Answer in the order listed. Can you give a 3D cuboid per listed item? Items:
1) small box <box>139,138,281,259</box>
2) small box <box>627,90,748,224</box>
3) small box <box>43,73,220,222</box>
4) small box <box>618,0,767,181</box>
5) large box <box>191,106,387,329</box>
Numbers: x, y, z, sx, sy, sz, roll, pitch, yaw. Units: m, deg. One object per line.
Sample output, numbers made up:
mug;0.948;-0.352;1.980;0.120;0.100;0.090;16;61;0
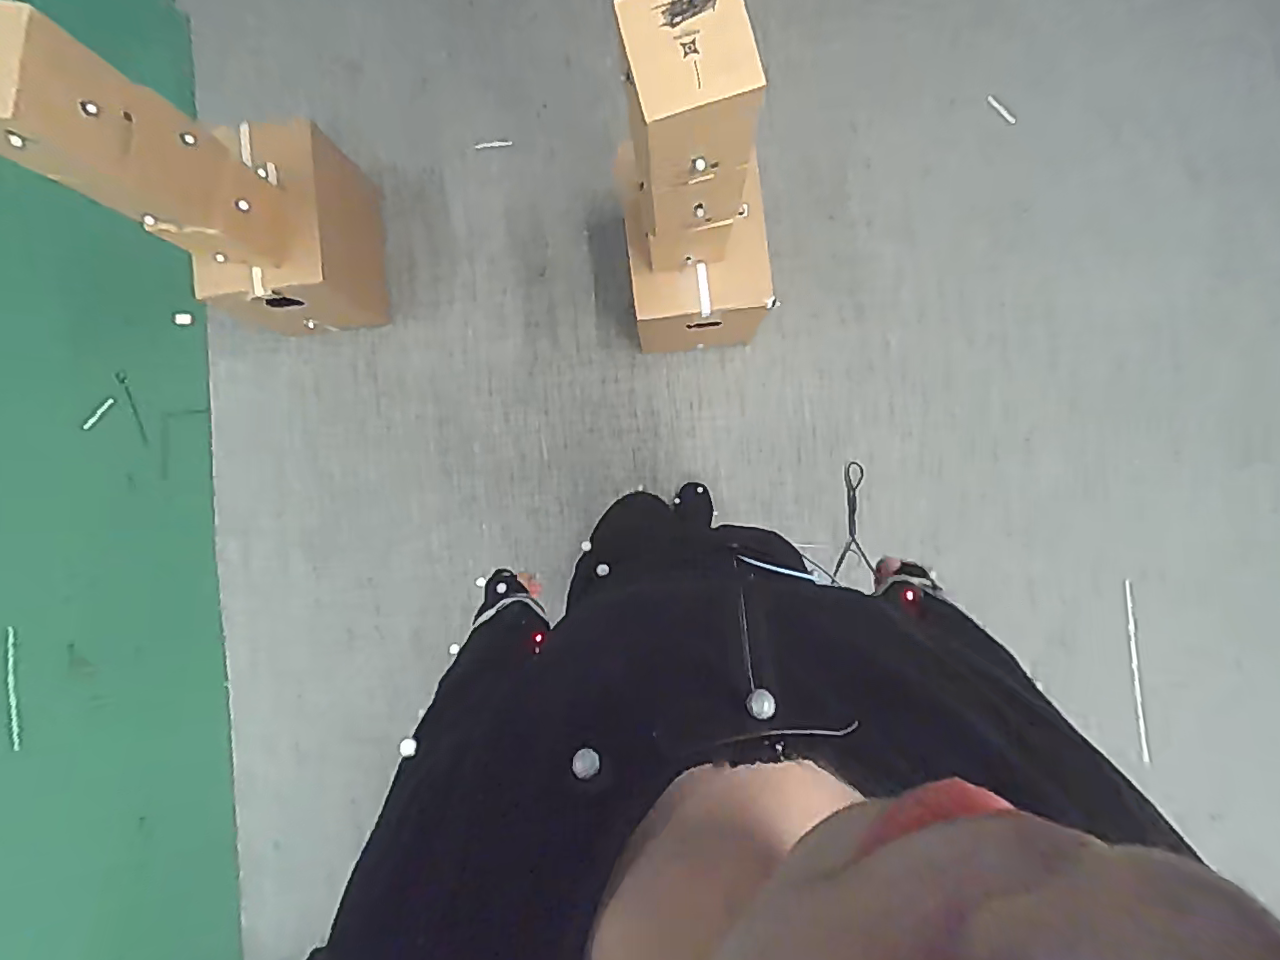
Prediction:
small box;-0.907;-0.599;1.156;0.168;0.176;0.179;5;90;3
small box;0.082;-0.576;0.948;0.168;0.176;0.179;-14;90;3
small box;-0.921;-0.609;0.994;0.168;0.176;0.179;9;91;4
small box;0.071;-0.578;0.783;0.168;0.176;0.179;-15;90;4
large box;-0.894;-0.648;1.399;0.320;0.320;0.408;-6;88;3
